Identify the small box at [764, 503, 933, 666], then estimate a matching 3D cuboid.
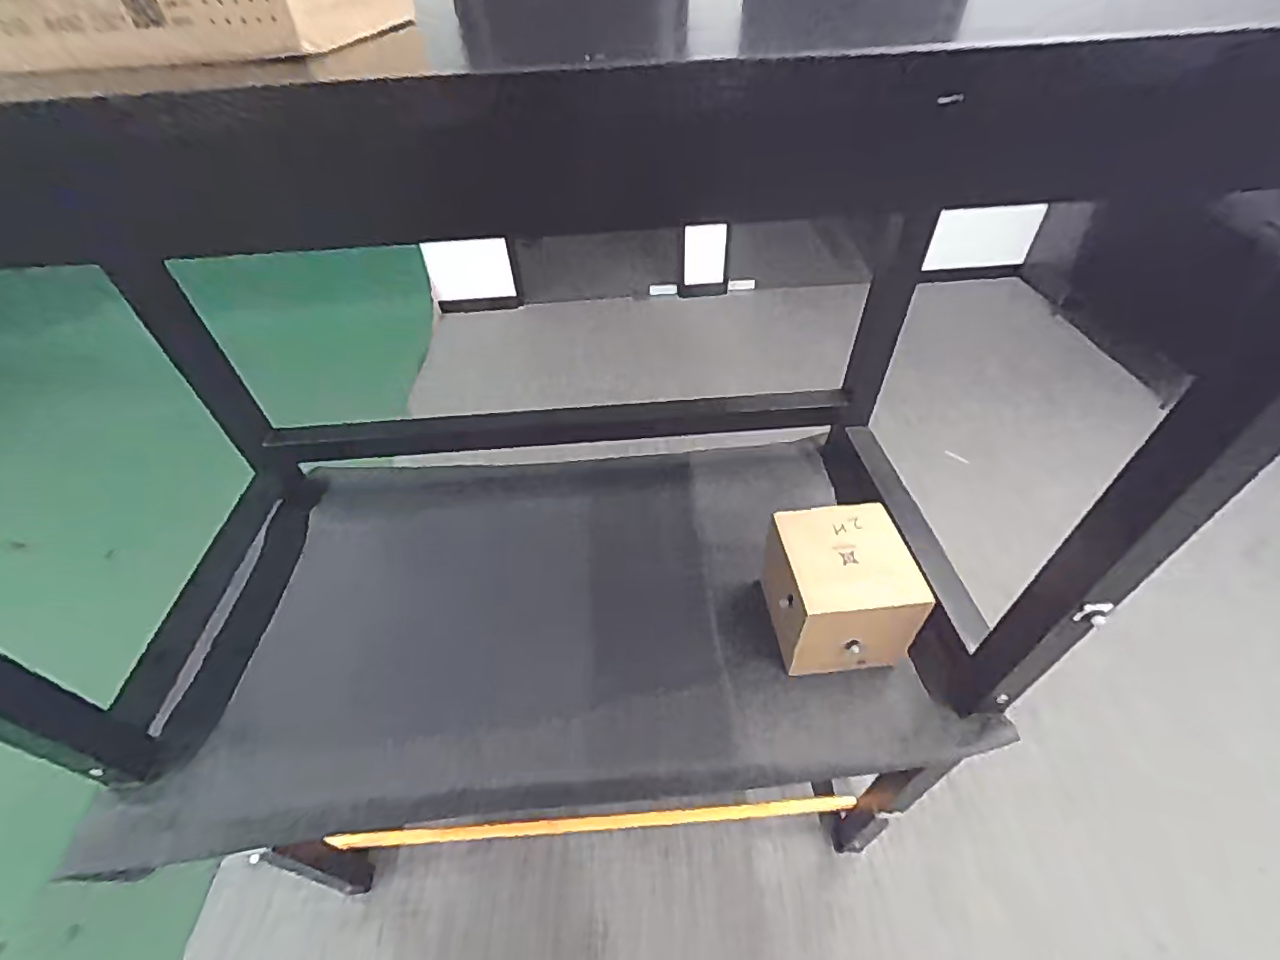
[{"bbox_3d":[0.288,0.158,0.794,0.168,0.176,0.179,-5,44,-2],"label":"small box"}]
